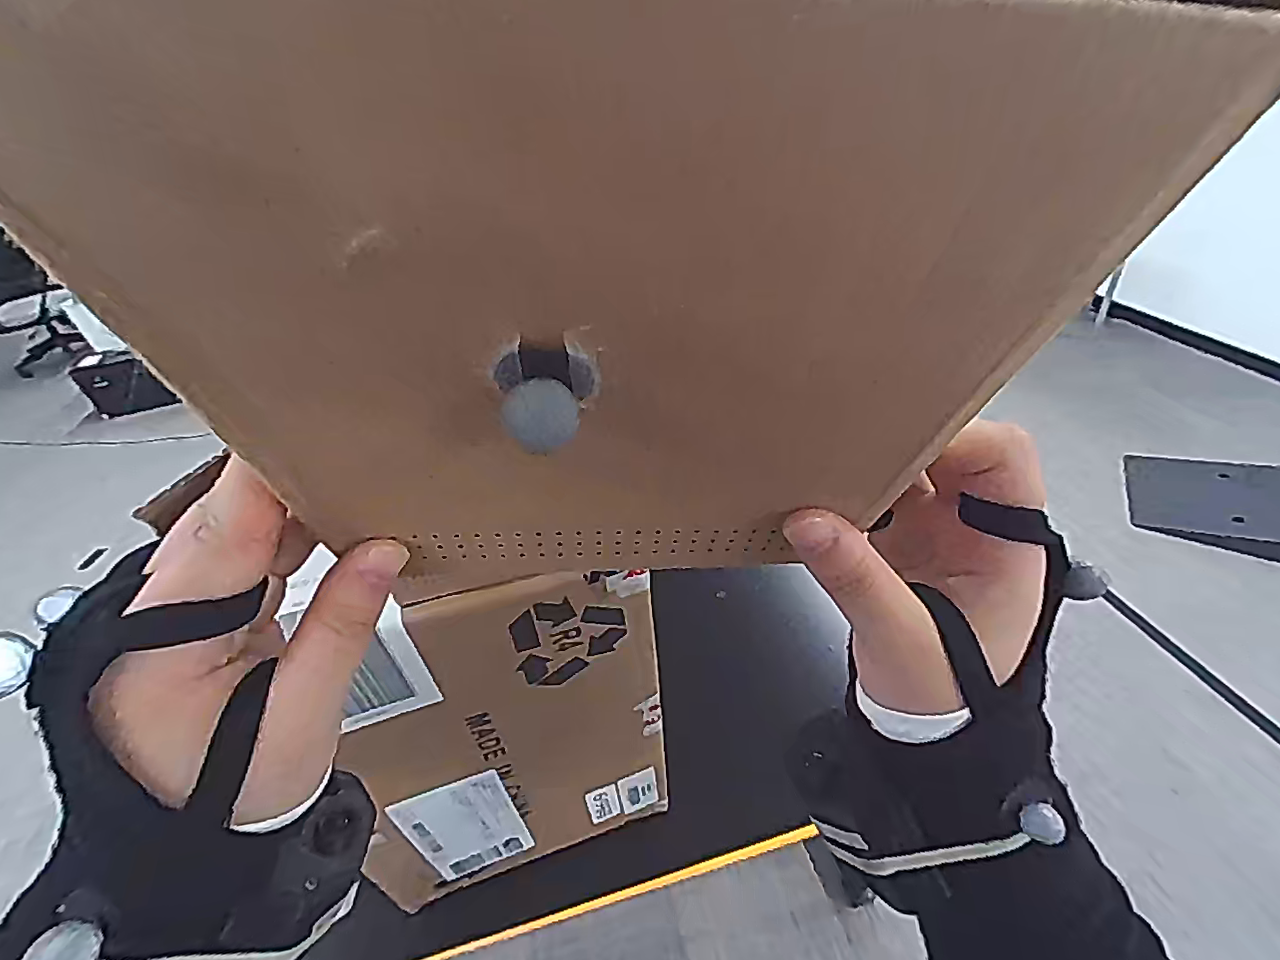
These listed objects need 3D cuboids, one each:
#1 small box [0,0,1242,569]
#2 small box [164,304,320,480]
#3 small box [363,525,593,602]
[{"bbox_3d":[-0.010,-0.078,0.178,0.179,0.176,0.168,-2,59,-5],"label":"small box"},{"bbox_3d":[-0.324,-0.125,0.556,0.168,0.176,0.179,-15,38,-15],"label":"small box"},{"bbox_3d":[-0.119,-0.033,0.426,0.179,0.176,0.168,-13,39,-11],"label":"small box"}]
